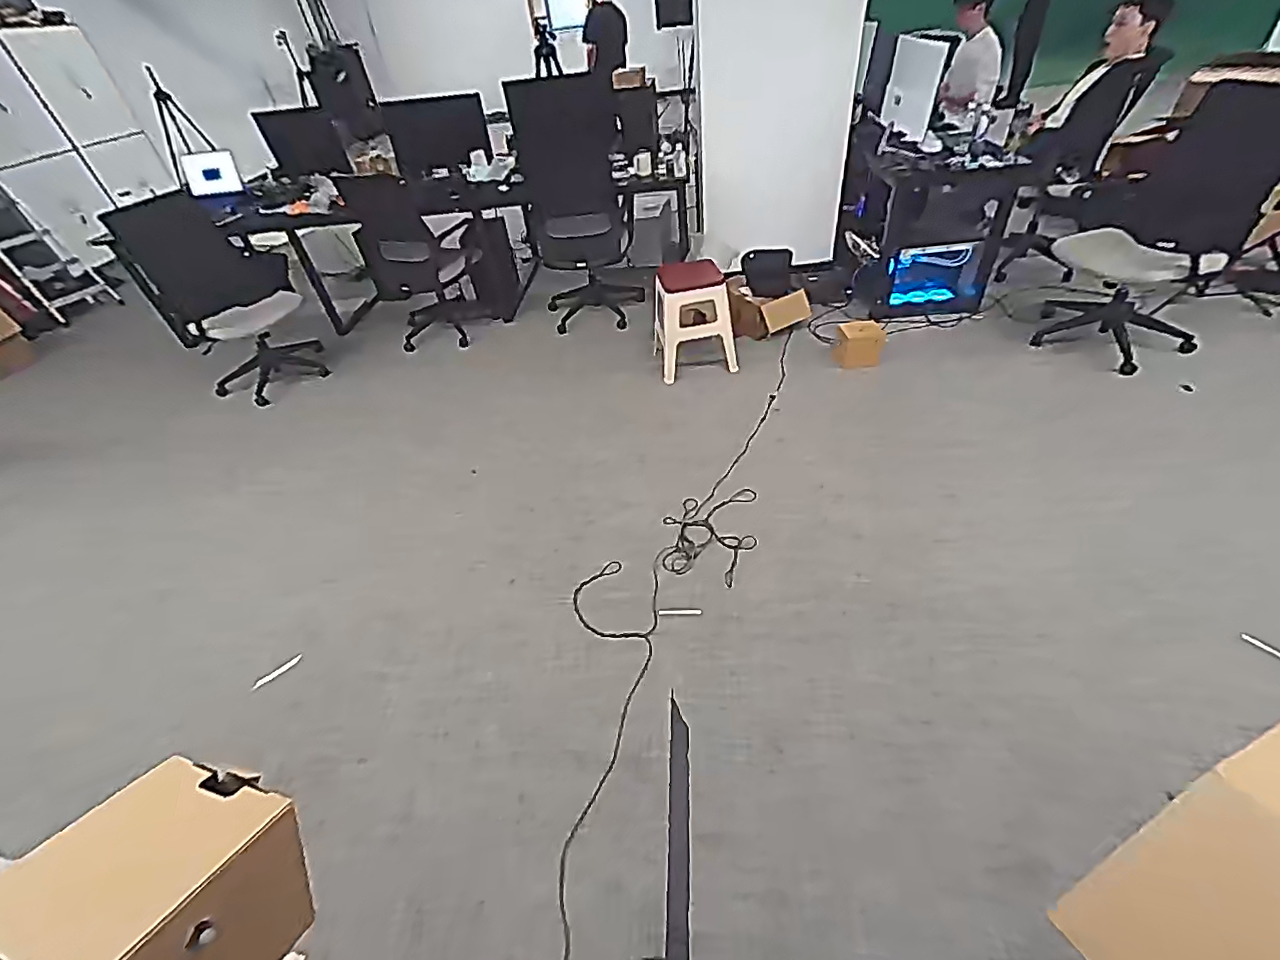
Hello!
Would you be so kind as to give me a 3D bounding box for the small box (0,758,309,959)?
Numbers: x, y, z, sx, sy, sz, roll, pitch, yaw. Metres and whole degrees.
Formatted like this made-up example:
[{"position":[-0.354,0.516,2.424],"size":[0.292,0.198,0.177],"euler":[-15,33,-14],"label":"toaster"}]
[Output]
[{"position":[-0.442,0.406,0.499],"size":[0.168,0.176,0.179],"euler":[8,17,16],"label":"small box"}]
